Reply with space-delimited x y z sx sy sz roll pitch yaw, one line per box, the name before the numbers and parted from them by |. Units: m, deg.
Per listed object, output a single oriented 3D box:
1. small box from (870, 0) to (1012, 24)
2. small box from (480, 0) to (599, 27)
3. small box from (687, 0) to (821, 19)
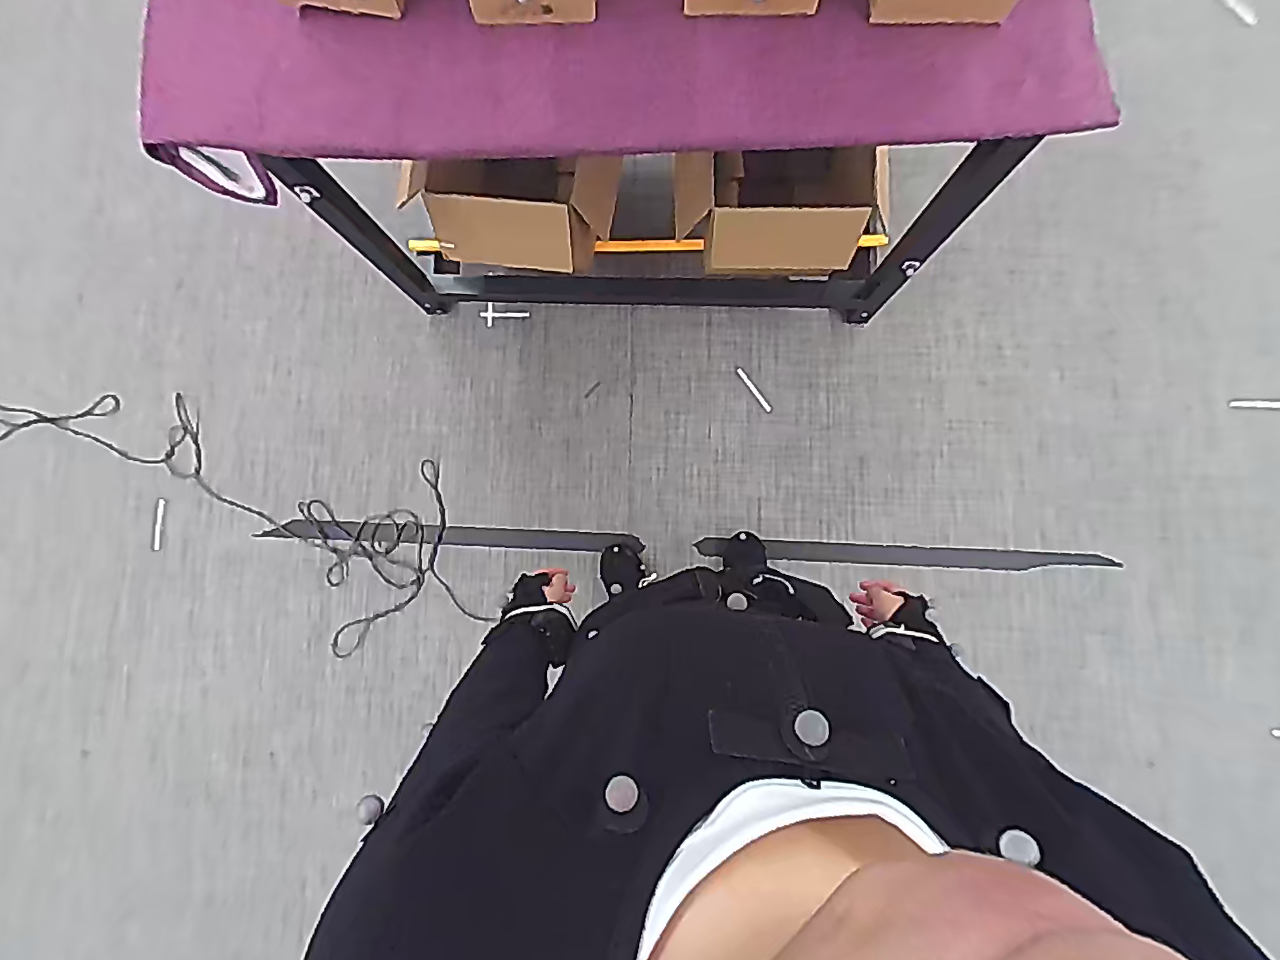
small box | 0.395 -0.691 0.645 0.179 0.176 0.168 2 83 2
small box | -0.138 -0.719 0.672 0.168 0.176 0.179 1 85 3
small box | 0.151 -0.713 0.656 0.179 0.176 0.168 3 84 3
